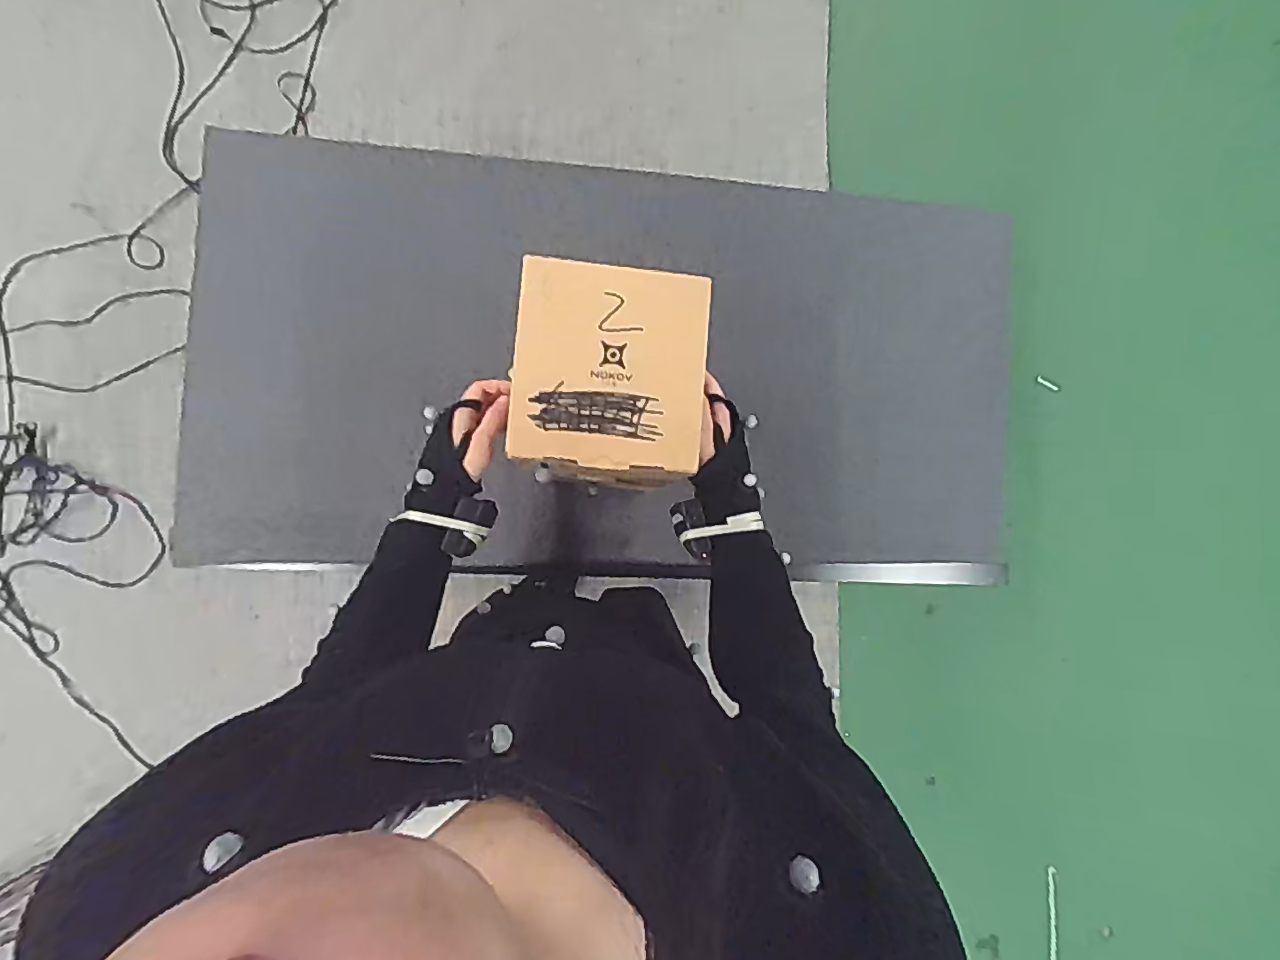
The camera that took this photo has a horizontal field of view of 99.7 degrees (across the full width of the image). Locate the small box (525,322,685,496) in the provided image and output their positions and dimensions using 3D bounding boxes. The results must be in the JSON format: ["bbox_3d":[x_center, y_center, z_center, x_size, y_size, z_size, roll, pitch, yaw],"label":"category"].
[{"bbox_3d":[-0.047,-0.078,0.690,0.168,0.176,0.179,7,86,-5],"label":"small box"}]
